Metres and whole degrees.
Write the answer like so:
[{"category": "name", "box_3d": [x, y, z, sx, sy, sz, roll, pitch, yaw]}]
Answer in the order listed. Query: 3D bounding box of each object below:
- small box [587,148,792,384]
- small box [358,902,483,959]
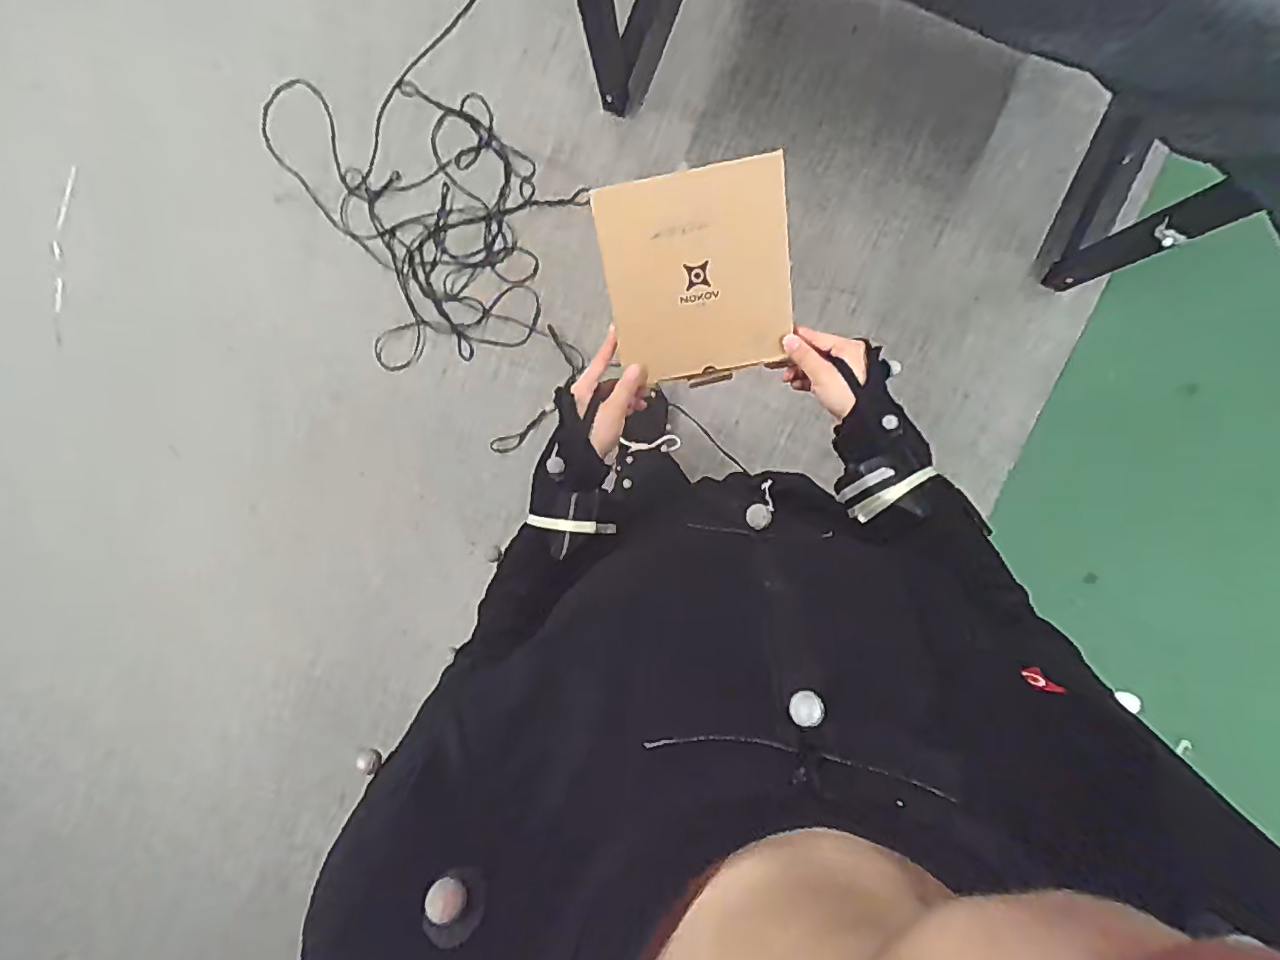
[{"category": "small box", "box_3d": [0.049, -0.214, 0.553, 0.168, 0.176, 0.179, -10, 113, 4]}, {"category": "small box", "box_3d": [-0.347, 0.765, 0.762, 0.168, 0.176, 0.179, 25, 96, 3]}]
